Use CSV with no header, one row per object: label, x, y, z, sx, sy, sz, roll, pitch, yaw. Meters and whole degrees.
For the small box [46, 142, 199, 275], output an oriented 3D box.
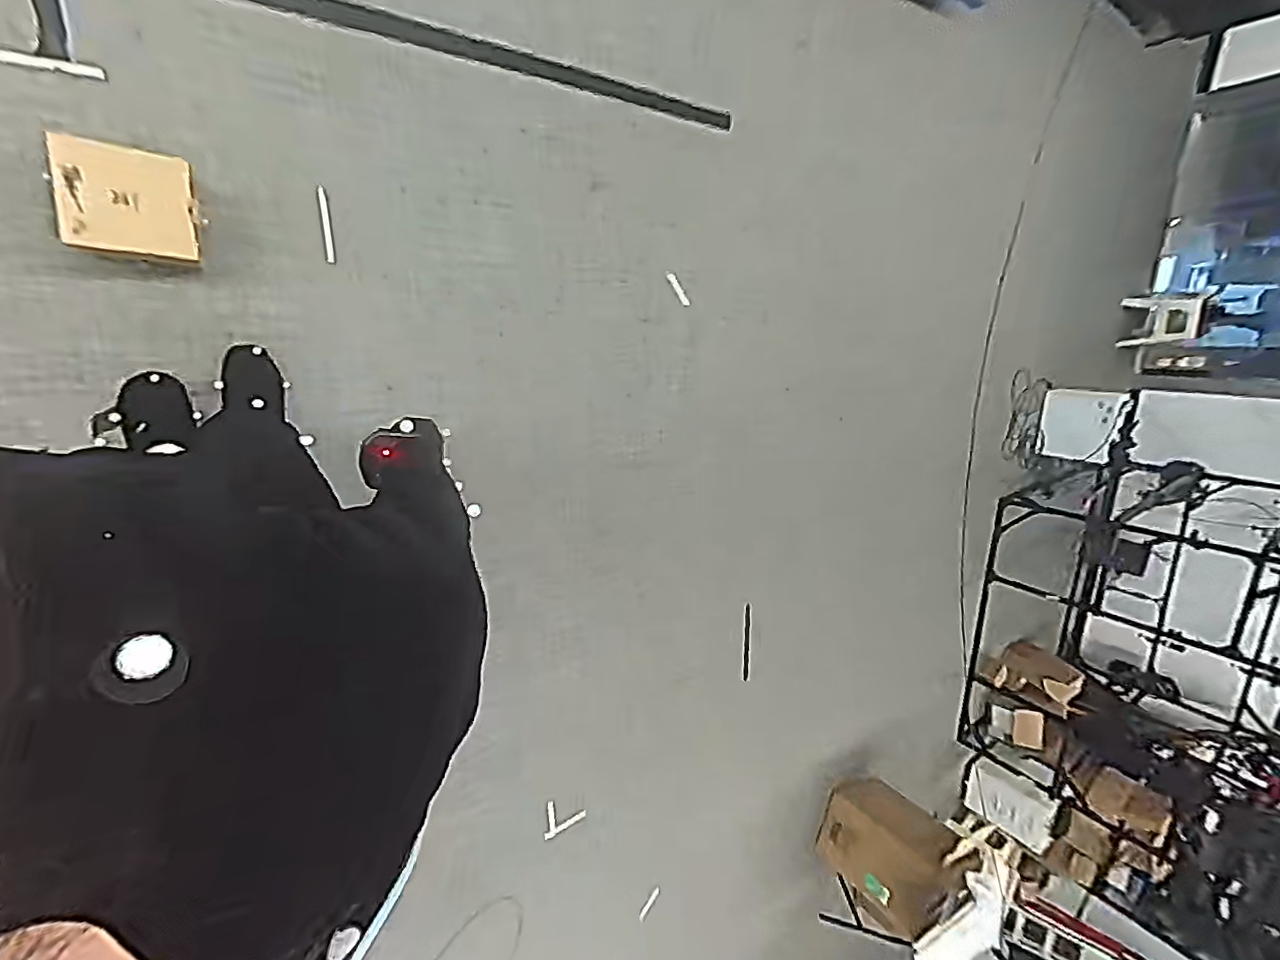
small box,-0.906,-0.468,0.965,0.179,0.176,0.168,-5,105,-37
